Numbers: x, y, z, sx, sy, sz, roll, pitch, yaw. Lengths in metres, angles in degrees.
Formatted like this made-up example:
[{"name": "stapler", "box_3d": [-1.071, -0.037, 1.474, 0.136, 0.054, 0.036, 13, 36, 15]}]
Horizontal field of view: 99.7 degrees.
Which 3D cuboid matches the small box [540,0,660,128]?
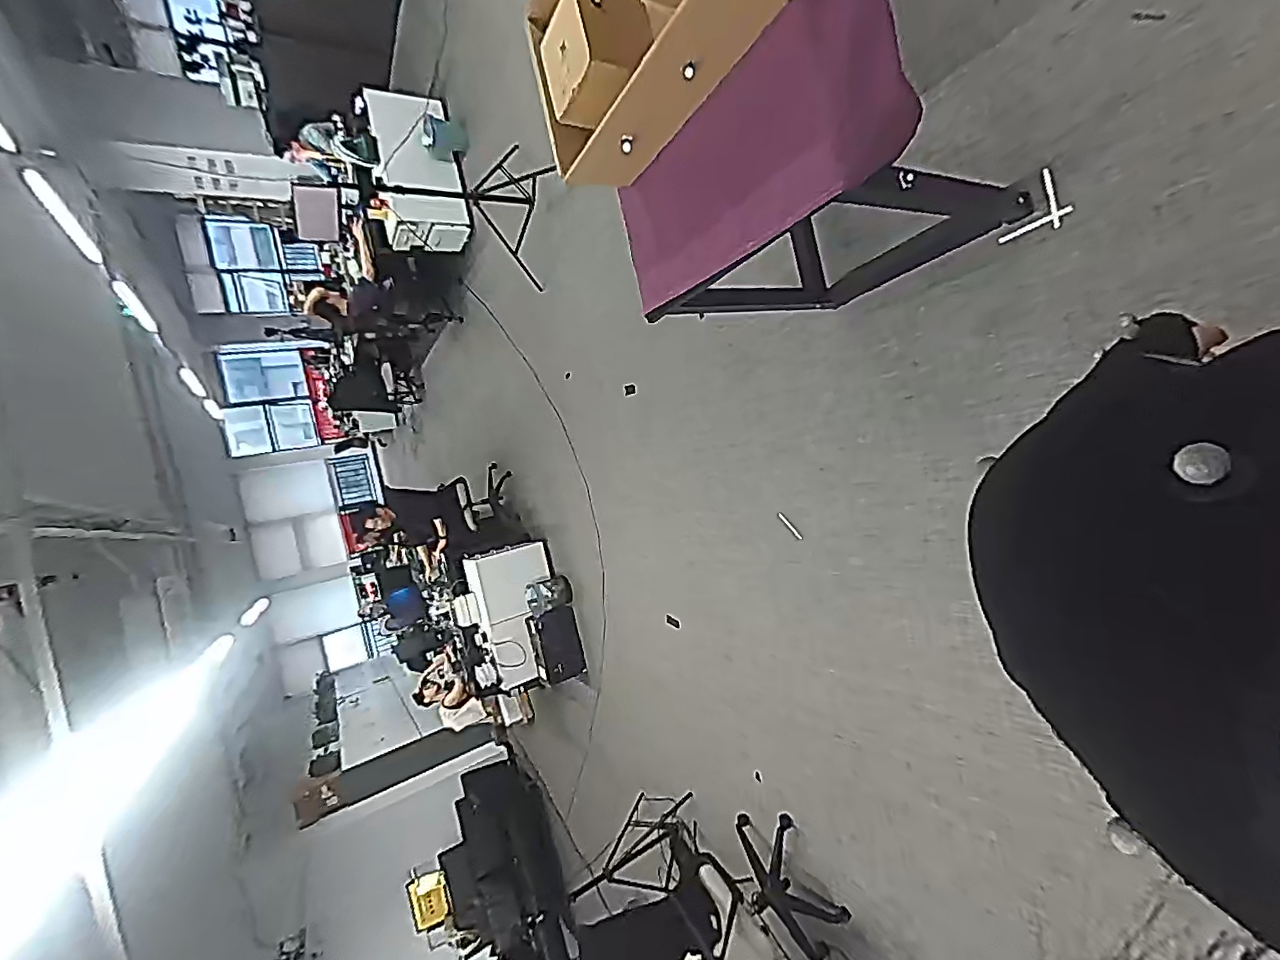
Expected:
[{"name": "small box", "box_3d": [-0.082, -0.866, 1.110, 0.168, 0.176, 0.179, -18, 85, 58]}]
